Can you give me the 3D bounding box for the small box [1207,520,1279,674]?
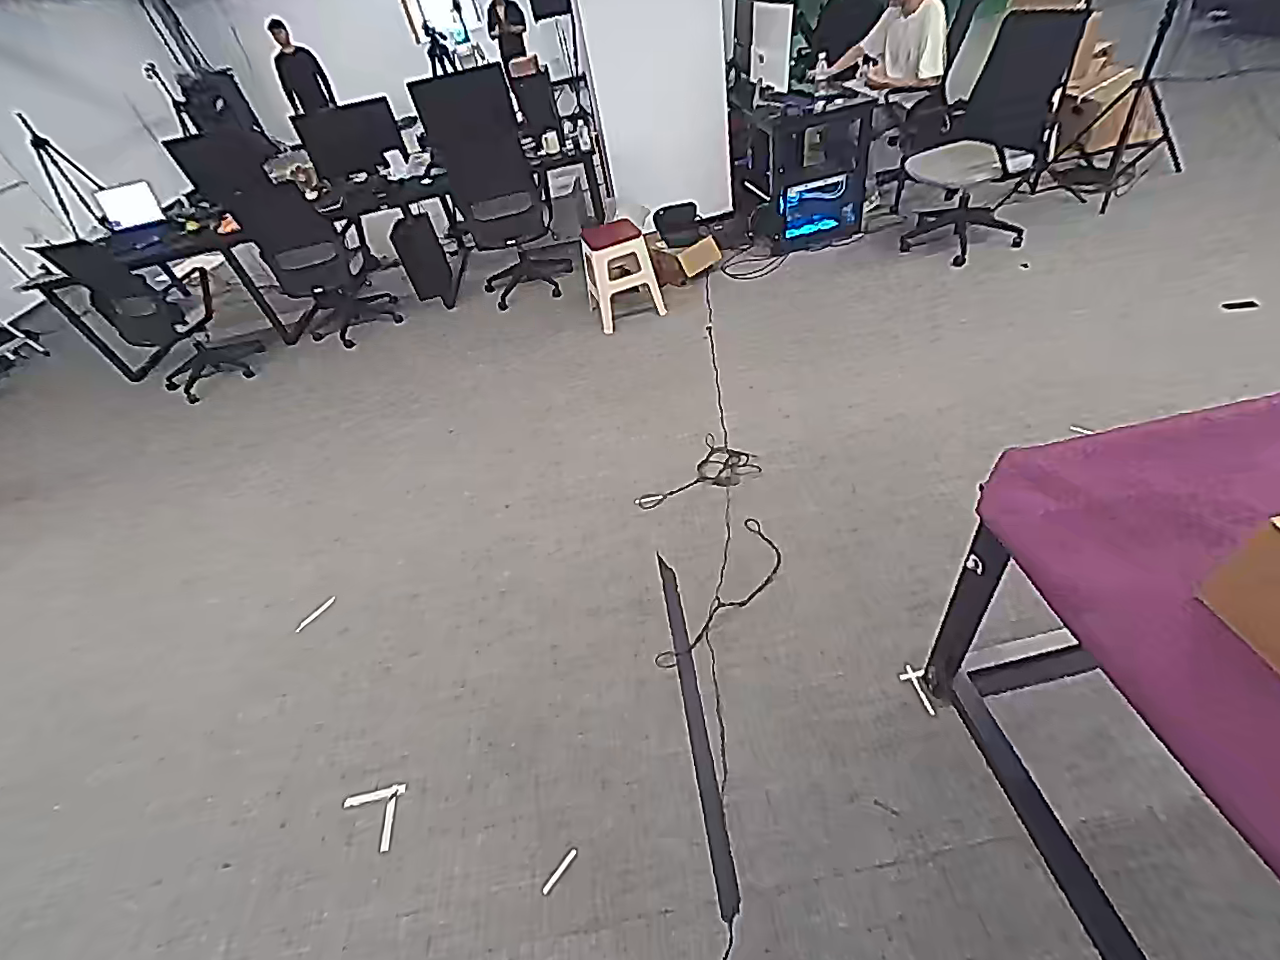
[{"bbox_3d":[0.866,0.150,0.647,0.168,0.176,0.179,-13,44,2],"label":"small box"}]
